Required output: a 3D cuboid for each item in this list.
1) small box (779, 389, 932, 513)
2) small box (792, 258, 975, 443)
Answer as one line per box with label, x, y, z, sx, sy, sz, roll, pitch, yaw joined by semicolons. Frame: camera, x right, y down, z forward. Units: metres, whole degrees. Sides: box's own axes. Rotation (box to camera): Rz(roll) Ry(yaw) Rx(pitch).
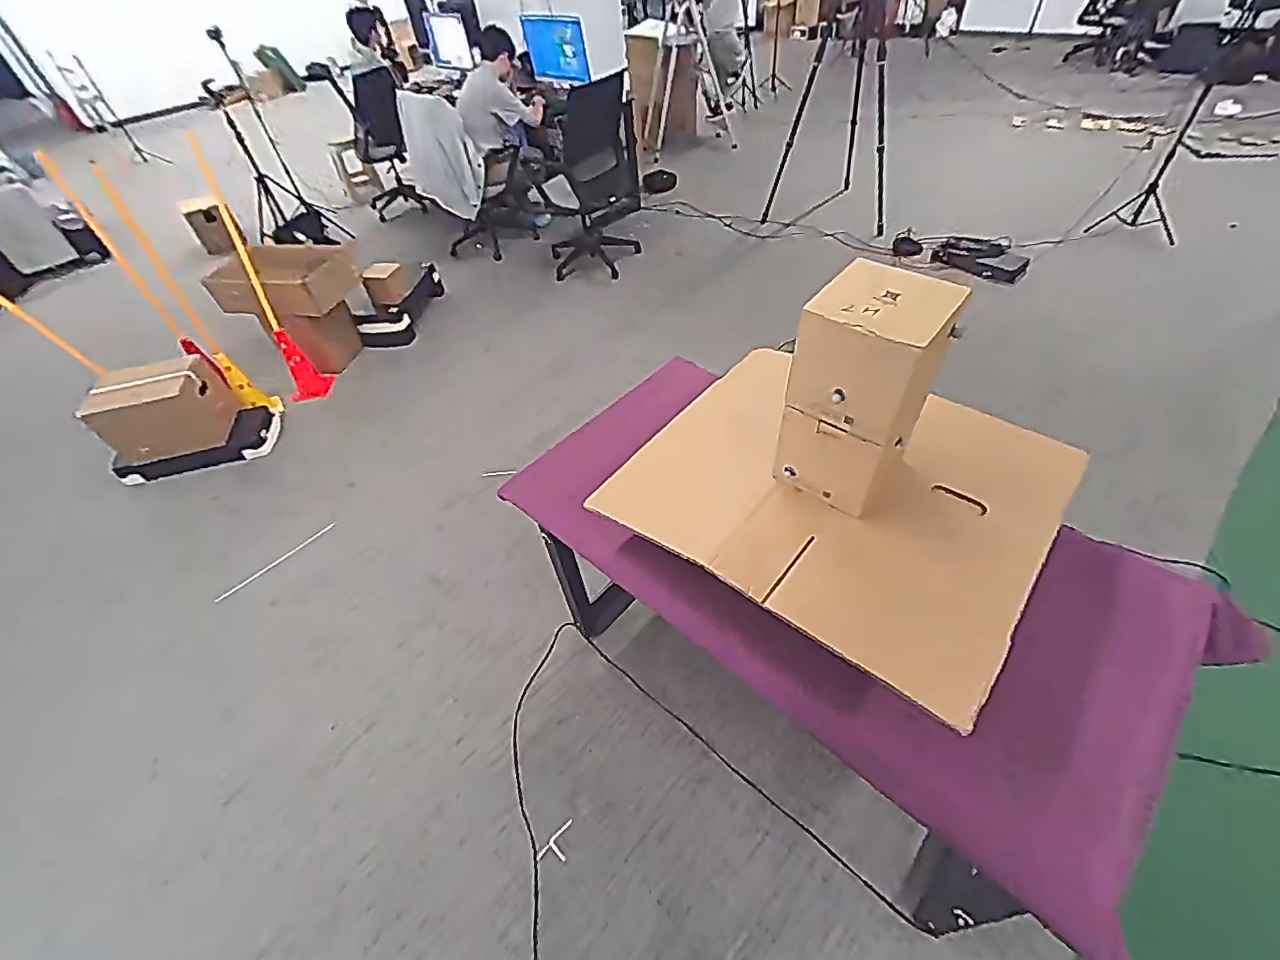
small box;0.348;-0.077;0.903;0.168;0.176;0.179;31;57;27
small box;0.339;-0.188;0.782;0.168;0.176;0.179;31;58;28
